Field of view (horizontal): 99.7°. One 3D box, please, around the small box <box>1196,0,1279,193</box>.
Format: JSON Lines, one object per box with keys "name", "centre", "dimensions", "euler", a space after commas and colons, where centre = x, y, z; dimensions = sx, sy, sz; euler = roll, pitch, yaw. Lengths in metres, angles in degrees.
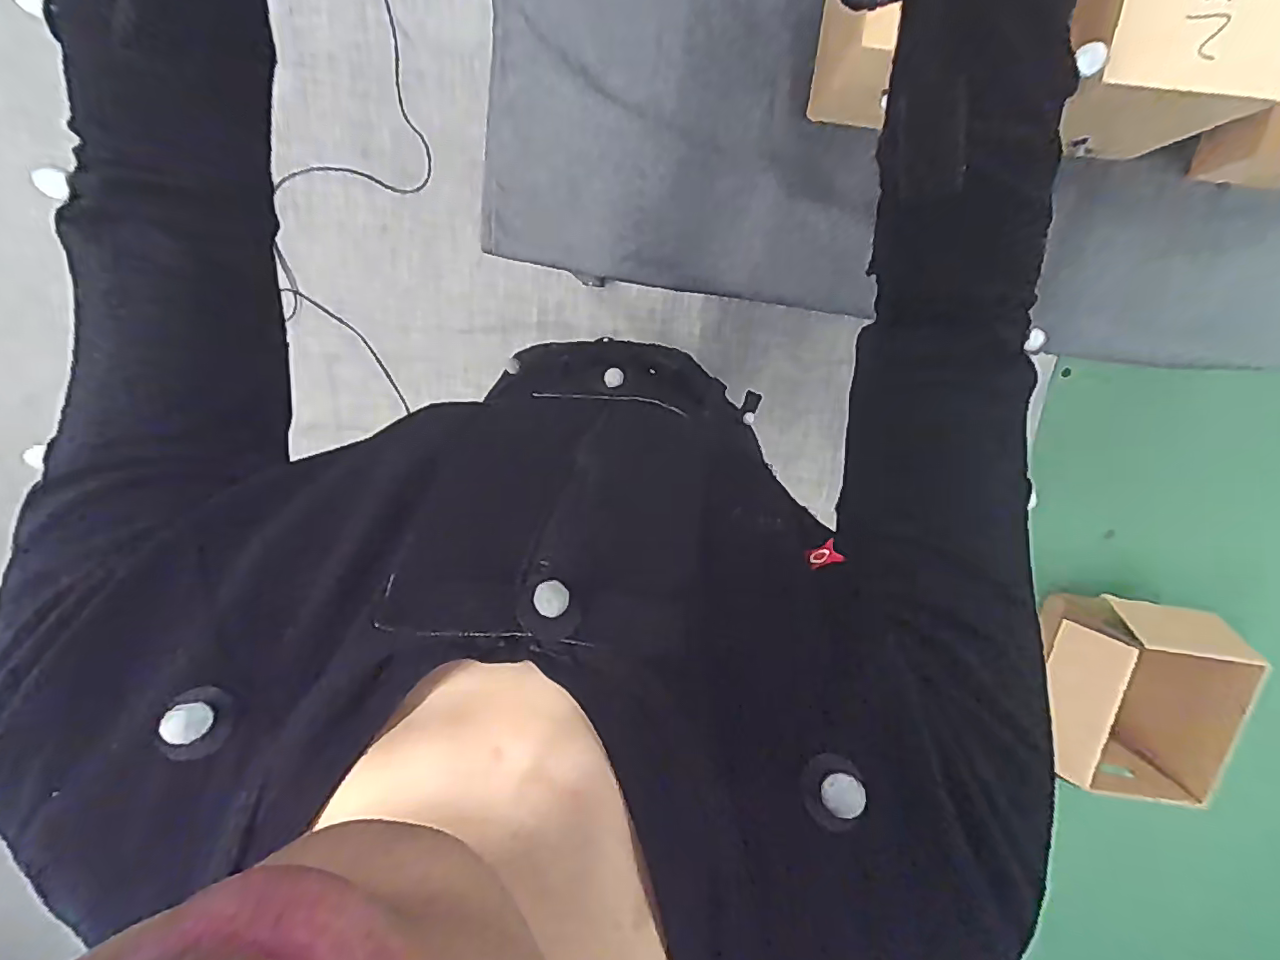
{"name": "small box", "centre": [0.730, -0.408, 0.538], "dimensions": [0.168, 0.176, 0.179], "euler": [6, 103, 0]}
